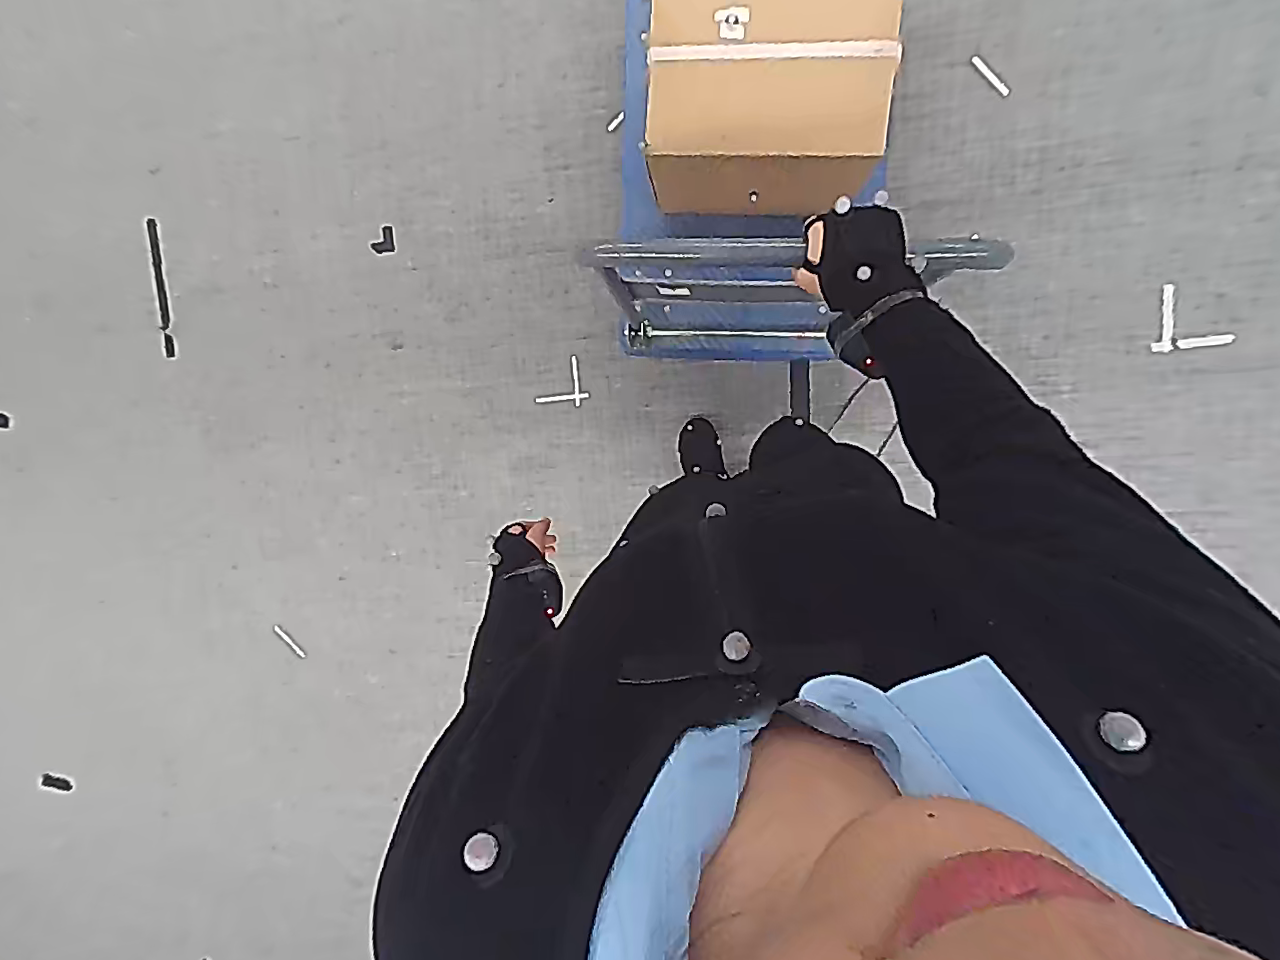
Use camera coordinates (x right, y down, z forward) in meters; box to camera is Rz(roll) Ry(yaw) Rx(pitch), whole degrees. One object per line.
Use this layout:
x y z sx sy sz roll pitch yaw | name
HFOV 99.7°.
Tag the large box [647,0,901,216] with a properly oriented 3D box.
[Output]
0.238 -0.717 1.037 0.408 0.320 0.320 4 98 8 | large box
